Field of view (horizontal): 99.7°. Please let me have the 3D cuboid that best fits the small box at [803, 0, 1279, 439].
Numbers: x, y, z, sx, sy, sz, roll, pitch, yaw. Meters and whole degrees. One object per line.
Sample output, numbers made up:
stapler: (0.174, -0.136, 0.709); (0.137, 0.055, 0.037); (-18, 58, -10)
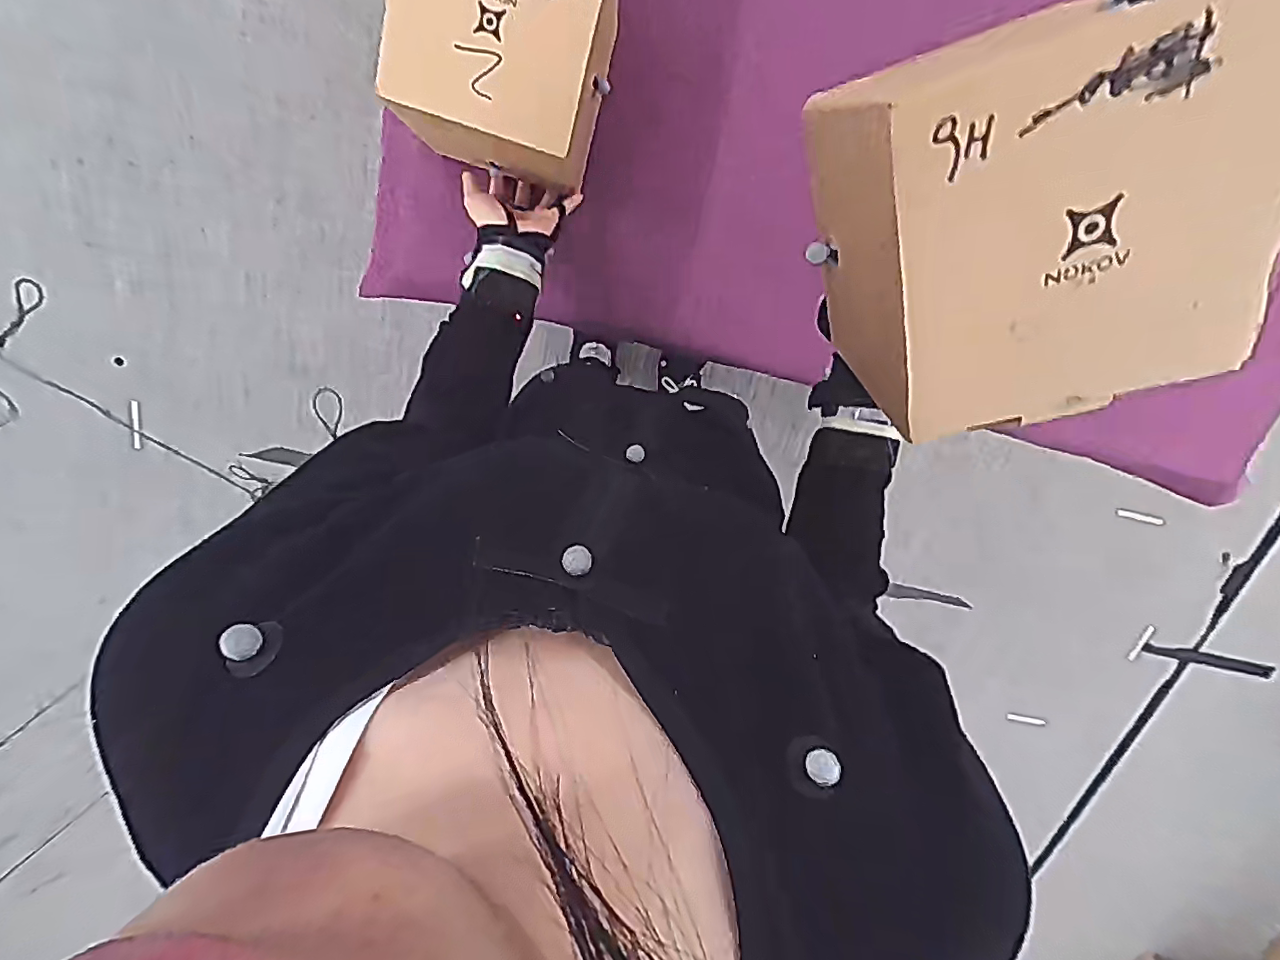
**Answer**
small box: (0.207, -0.155, 0.324); (0.168, 0.176, 0.179); (-14, 123, 11)
